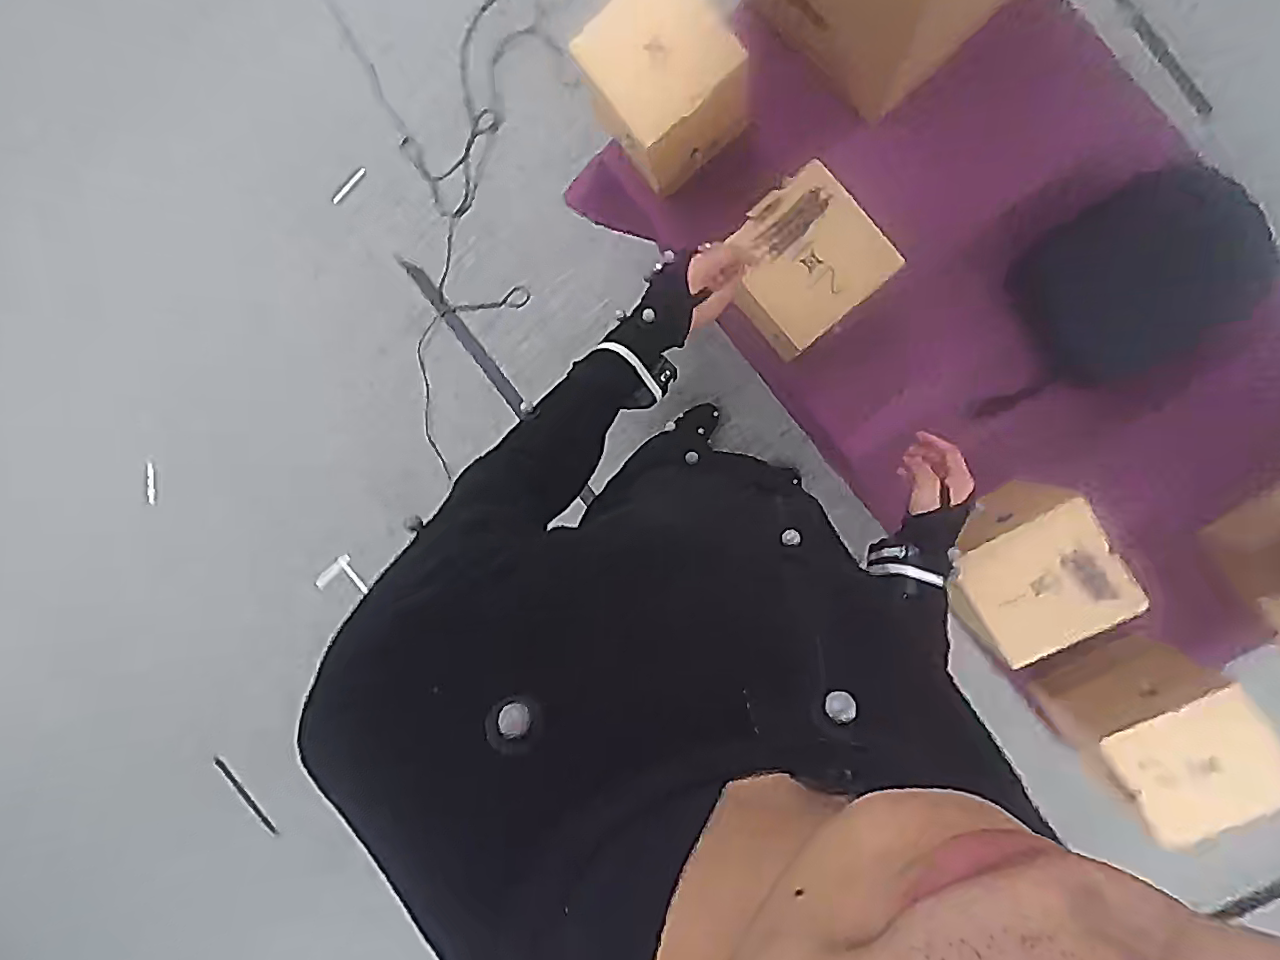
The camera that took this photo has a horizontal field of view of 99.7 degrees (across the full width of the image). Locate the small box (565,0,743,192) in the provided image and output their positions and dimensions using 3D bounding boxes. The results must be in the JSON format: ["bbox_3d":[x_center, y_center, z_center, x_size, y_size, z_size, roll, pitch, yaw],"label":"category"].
[{"bbox_3d":[0.027,-0.554,0.767,0.168,0.176,0.179,-39,90,12],"label":"small box"}]

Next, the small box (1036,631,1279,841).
[{"bbox_3d":[0.713,0.339,0.751,0.179,0.176,0.168,-32,90,12],"label":"small box"}]
